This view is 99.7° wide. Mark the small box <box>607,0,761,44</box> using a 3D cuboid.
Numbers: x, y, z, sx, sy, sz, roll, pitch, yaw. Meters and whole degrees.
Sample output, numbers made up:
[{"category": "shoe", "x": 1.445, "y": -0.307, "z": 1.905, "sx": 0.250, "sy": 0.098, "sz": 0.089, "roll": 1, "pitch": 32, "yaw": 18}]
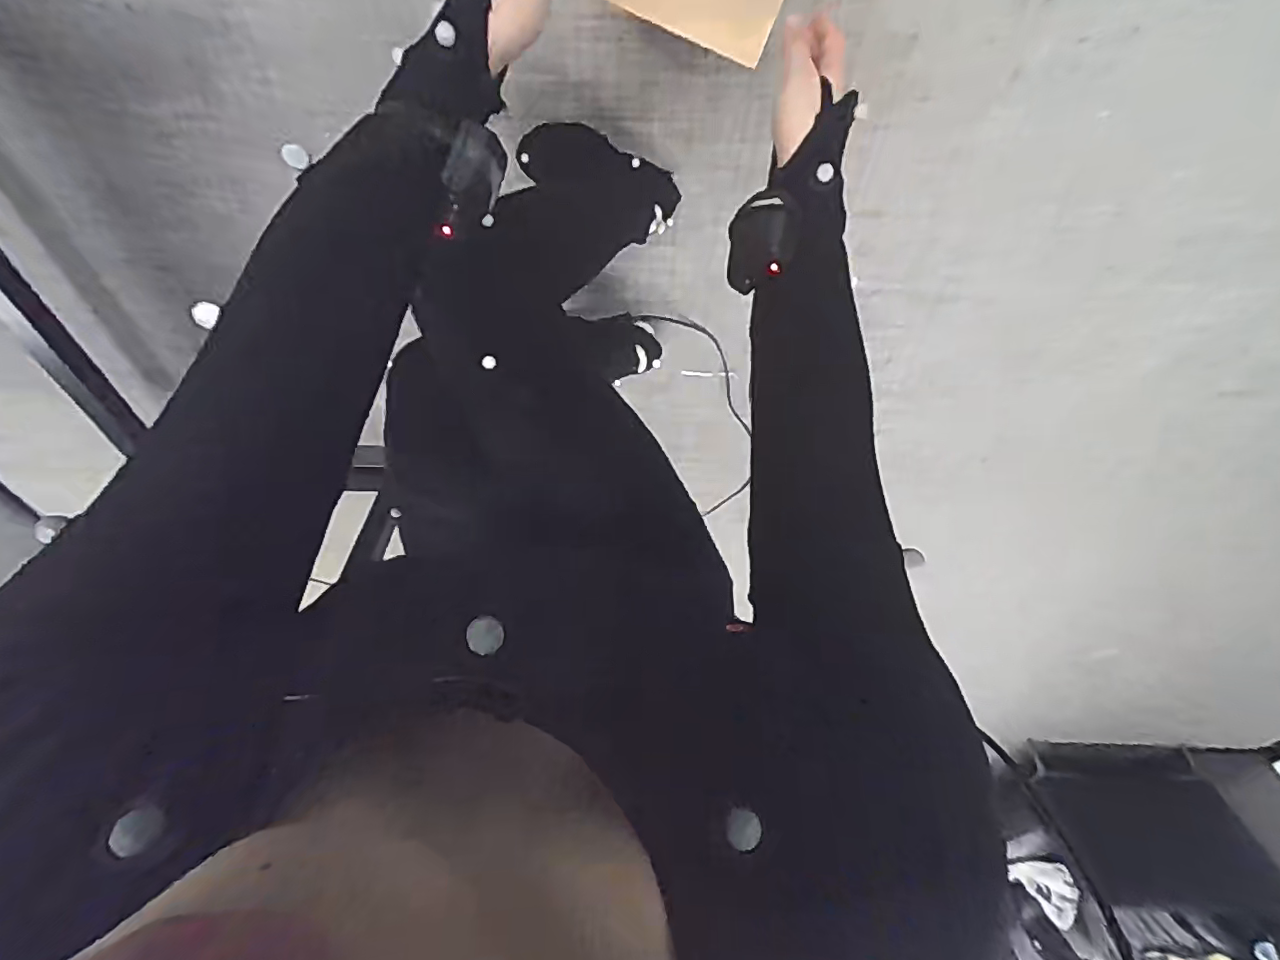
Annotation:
[{"category": "small box", "x": 0.061, "y": -0.646, "z": 0.633, "sx": 0.179, "sy": 0.176, "sz": 0.168, "roll": 7, "pitch": 136, "yaw": -7}]
